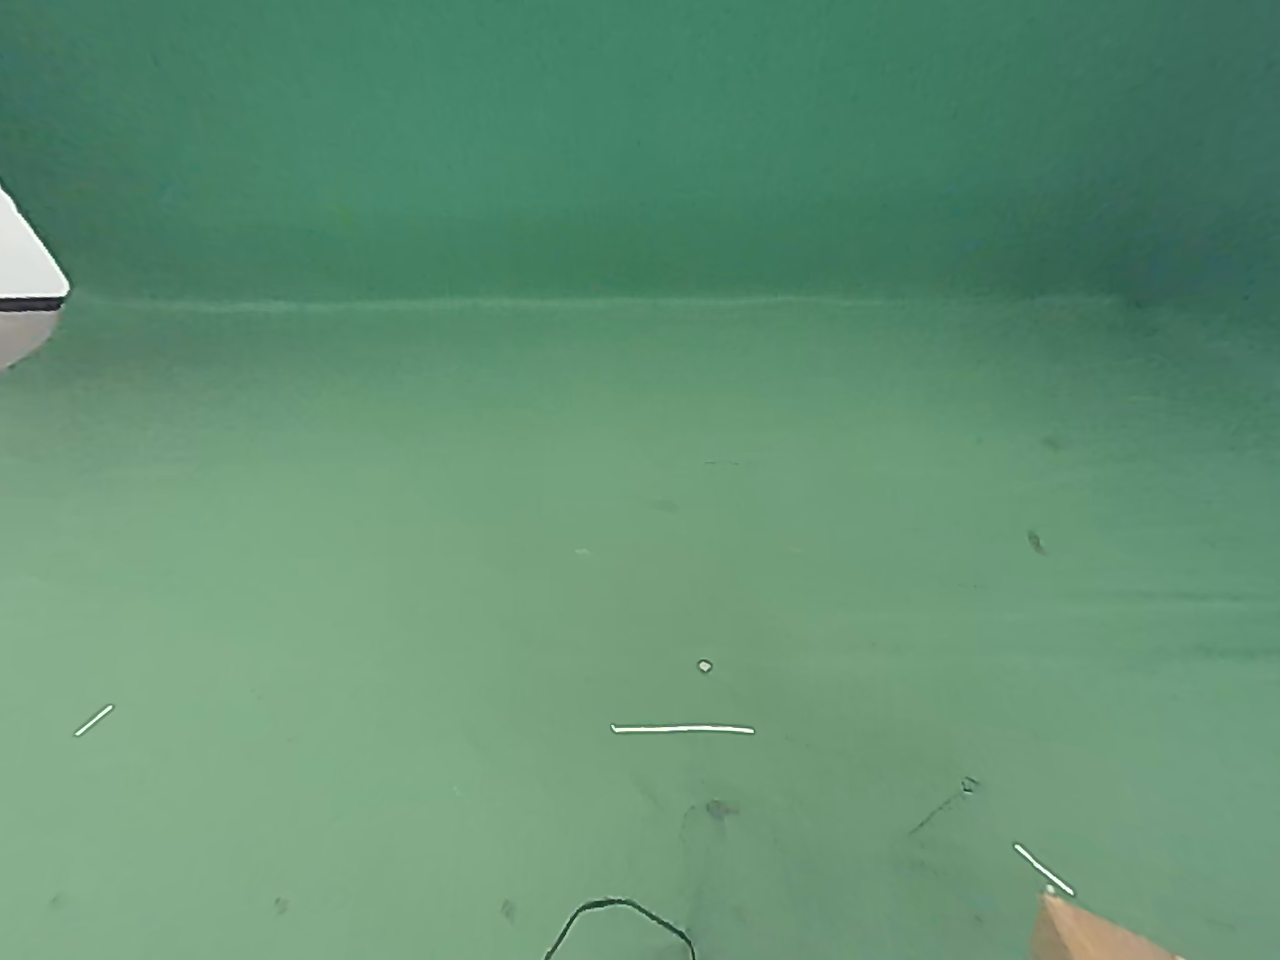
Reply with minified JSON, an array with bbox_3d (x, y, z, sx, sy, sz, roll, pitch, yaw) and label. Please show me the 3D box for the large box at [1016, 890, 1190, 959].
[{"bbox_3d":[0.581,0.744,0.532,0.320,0.408,0.320,18,89,24],"label":"large box"}]
